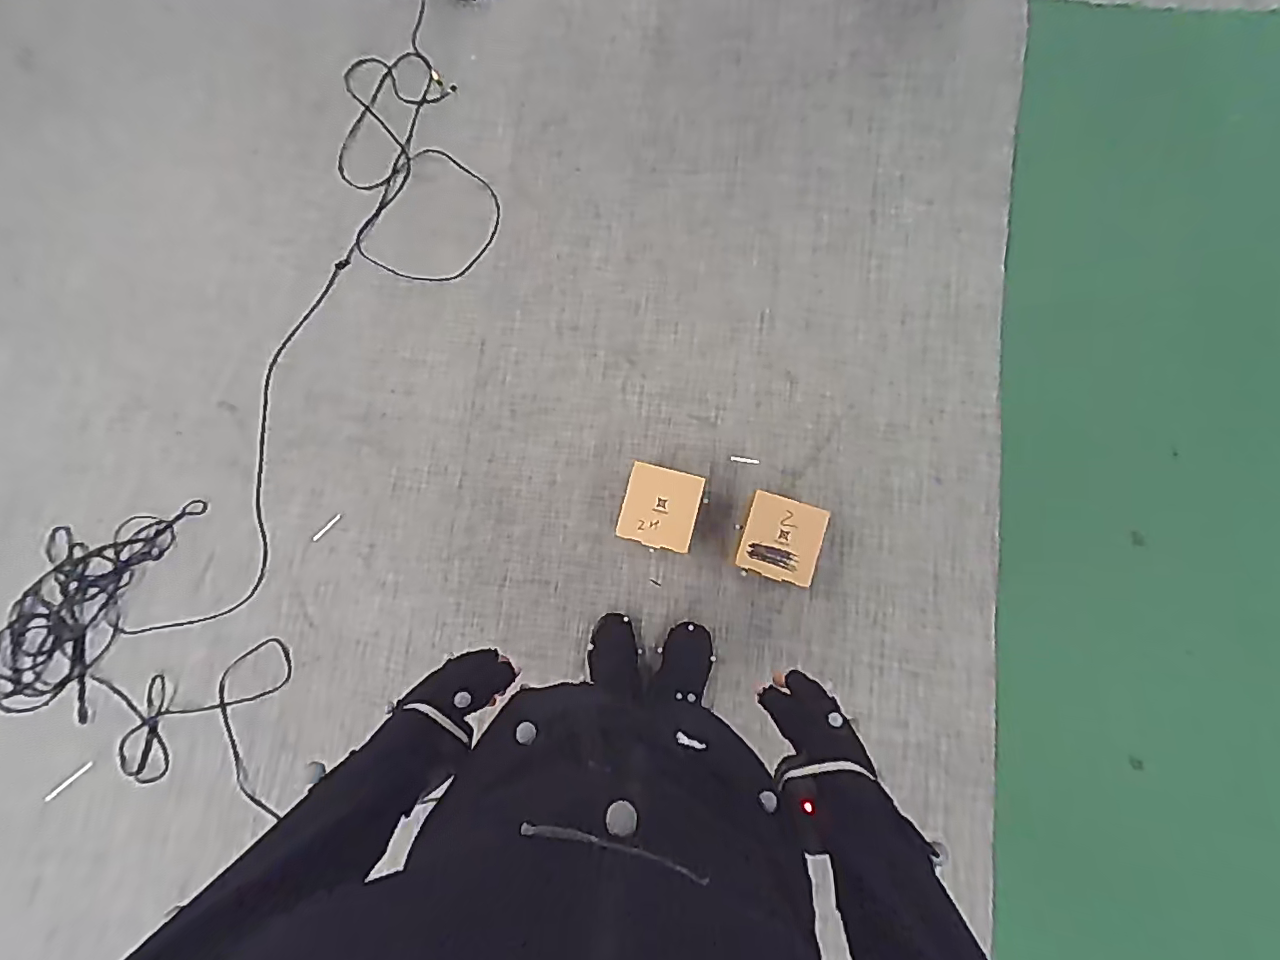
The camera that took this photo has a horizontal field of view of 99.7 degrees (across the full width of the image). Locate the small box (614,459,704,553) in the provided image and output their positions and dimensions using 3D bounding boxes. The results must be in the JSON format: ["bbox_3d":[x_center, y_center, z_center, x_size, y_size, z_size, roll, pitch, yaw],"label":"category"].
[{"bbox_3d":[0.047,0.067,1.272,0.168,0.176,0.179,15,83,7],"label":"small box"}]
